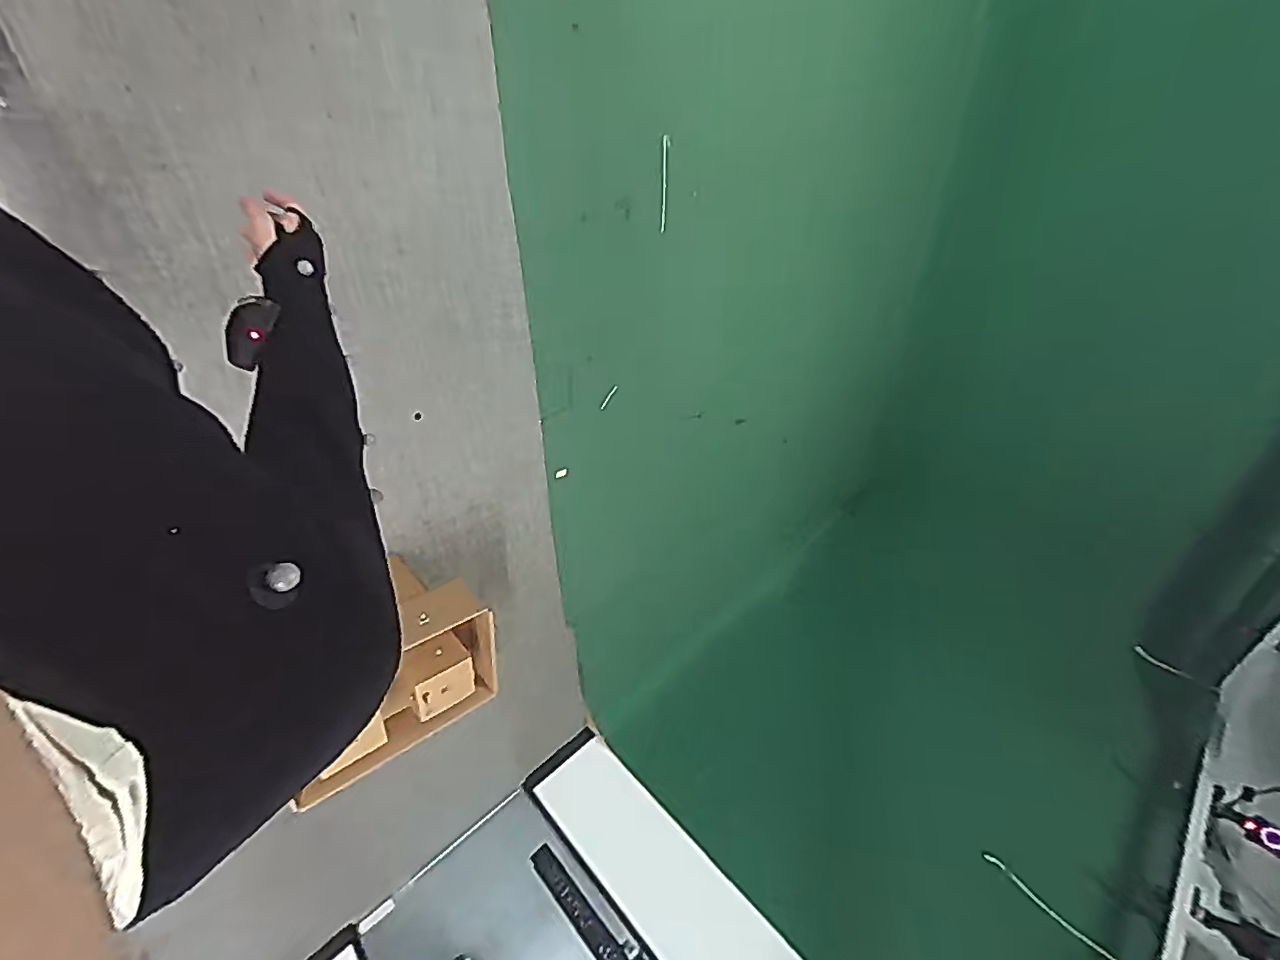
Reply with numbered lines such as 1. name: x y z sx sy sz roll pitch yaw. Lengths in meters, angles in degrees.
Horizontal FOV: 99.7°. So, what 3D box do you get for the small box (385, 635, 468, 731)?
1. small box: -0.645 0.606 1.638 0.179 0.176 0.168 -22 130 -40
